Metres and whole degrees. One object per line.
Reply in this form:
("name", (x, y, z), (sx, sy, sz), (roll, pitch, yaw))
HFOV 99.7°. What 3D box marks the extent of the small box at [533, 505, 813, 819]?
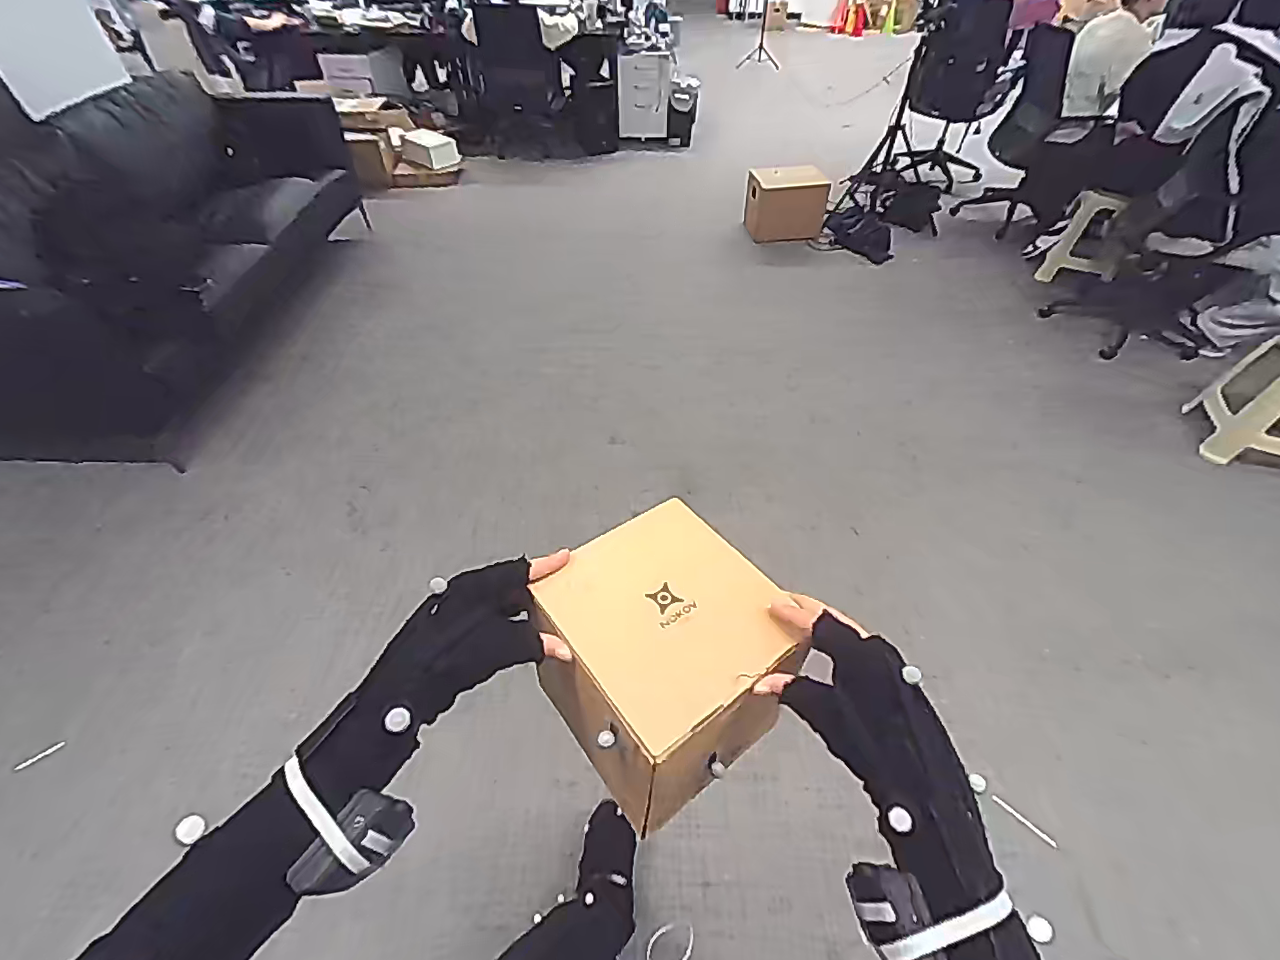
("small box", (0.017, 0.159, 0.491), (0.168, 0.176, 0.179), (-24, 51, -29))
